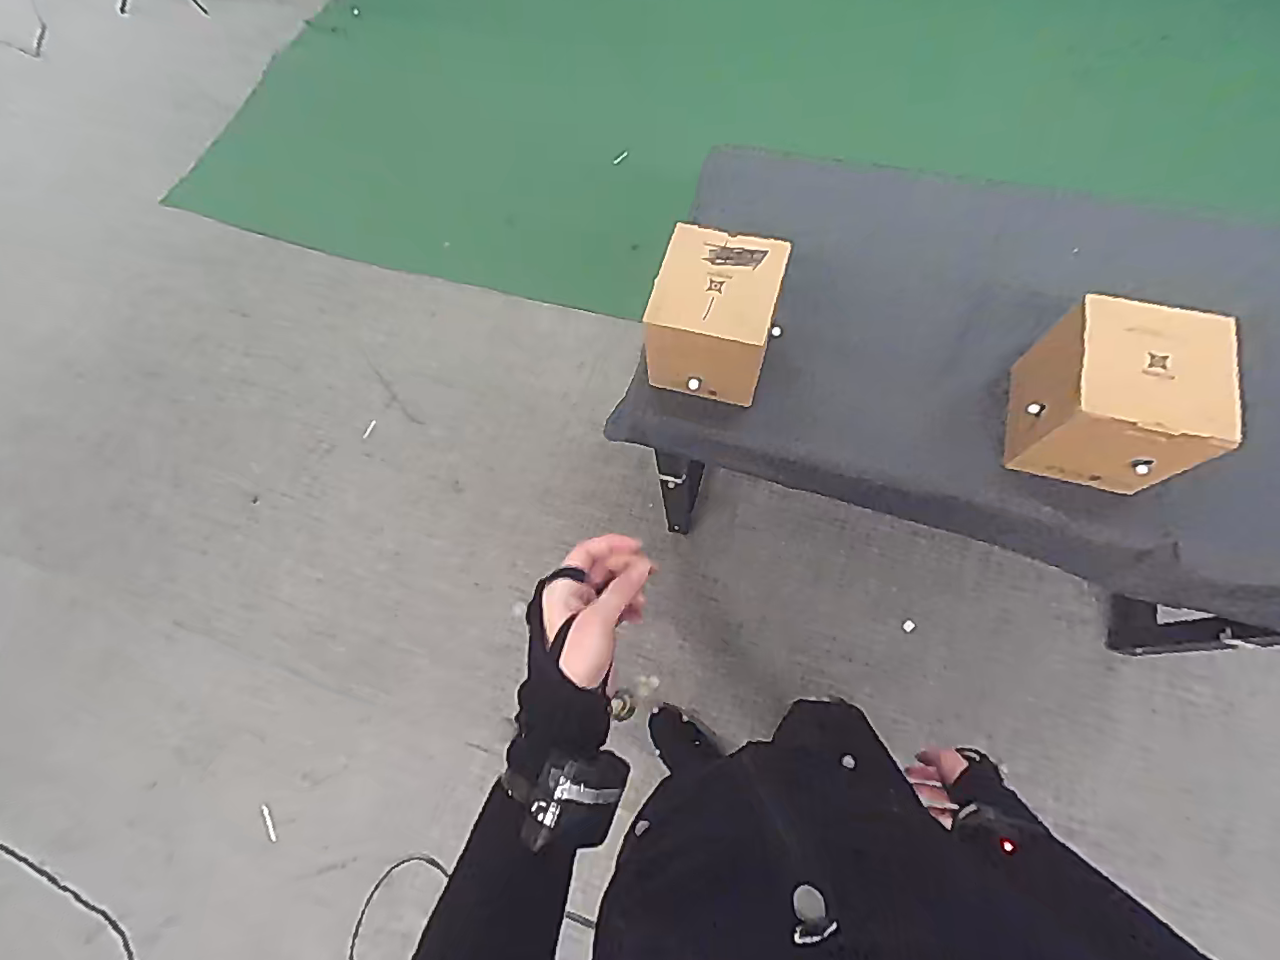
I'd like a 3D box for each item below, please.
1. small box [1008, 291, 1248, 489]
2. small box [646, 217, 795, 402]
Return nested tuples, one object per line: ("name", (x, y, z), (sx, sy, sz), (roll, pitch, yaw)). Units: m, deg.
("small box", (0.610, -0.107, 0.699), (0.168, 0.176, 0.179), (15, 70, 9))
("small box", (0.114, -0.243, 0.794), (0.168, 0.176, 0.179), (15, 72, 11))
